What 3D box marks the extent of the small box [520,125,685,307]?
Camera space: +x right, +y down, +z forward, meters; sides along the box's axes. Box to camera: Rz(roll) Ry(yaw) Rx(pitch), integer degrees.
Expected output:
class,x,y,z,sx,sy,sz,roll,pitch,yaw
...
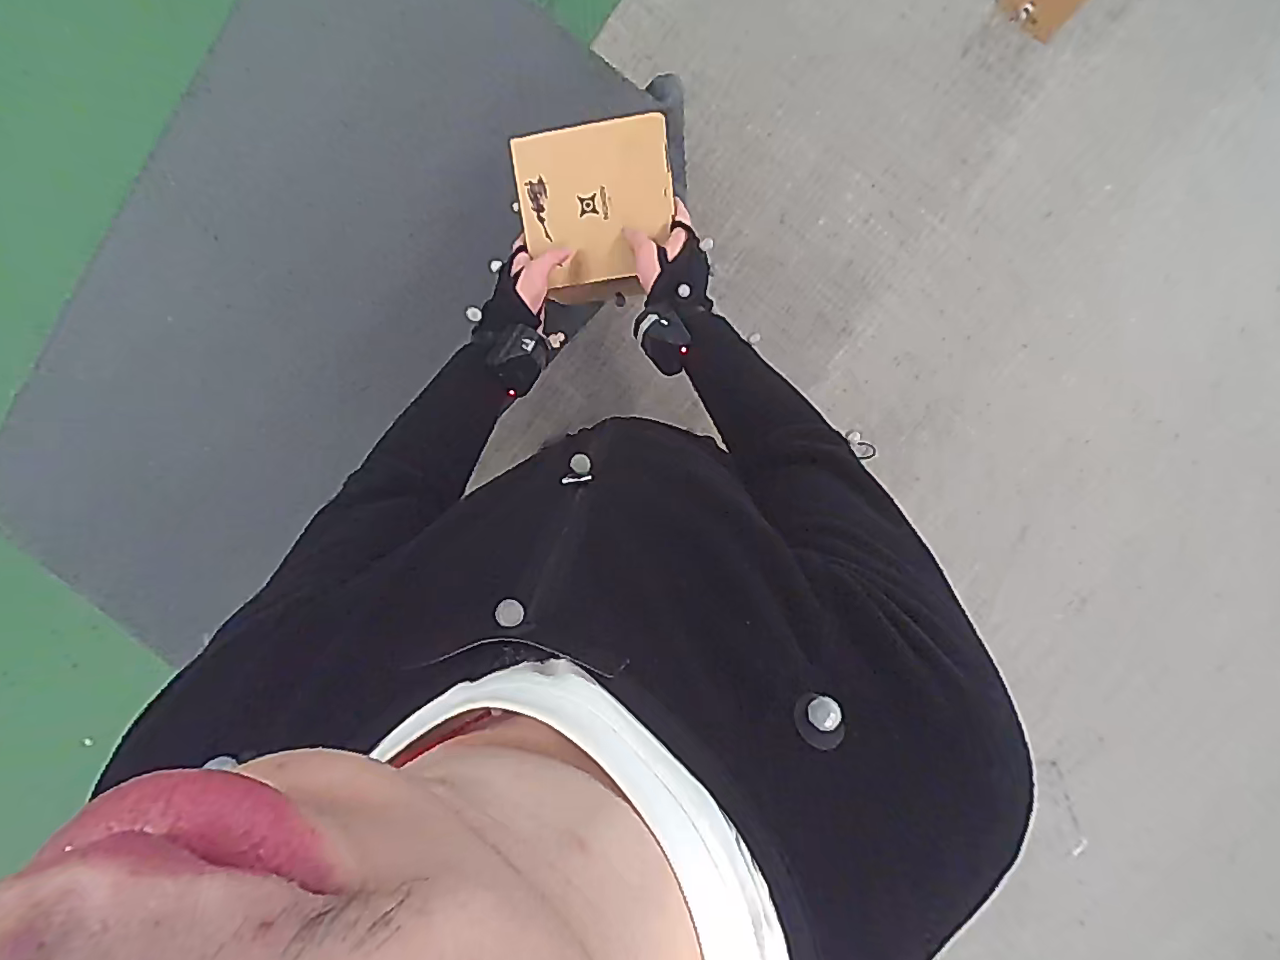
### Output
class,x,y,z,sx,sy,sz,roll,pitch,yaw
small box,-0.038,-0.323,0.697,0.179,0.176,0.168,-5,102,5

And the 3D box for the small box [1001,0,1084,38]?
class,x,y,z,sx,sy,sz,roll,pitch,yaw
small box,1.005,-1.212,1.269,0.168,0.176,0.179,40,98,1
